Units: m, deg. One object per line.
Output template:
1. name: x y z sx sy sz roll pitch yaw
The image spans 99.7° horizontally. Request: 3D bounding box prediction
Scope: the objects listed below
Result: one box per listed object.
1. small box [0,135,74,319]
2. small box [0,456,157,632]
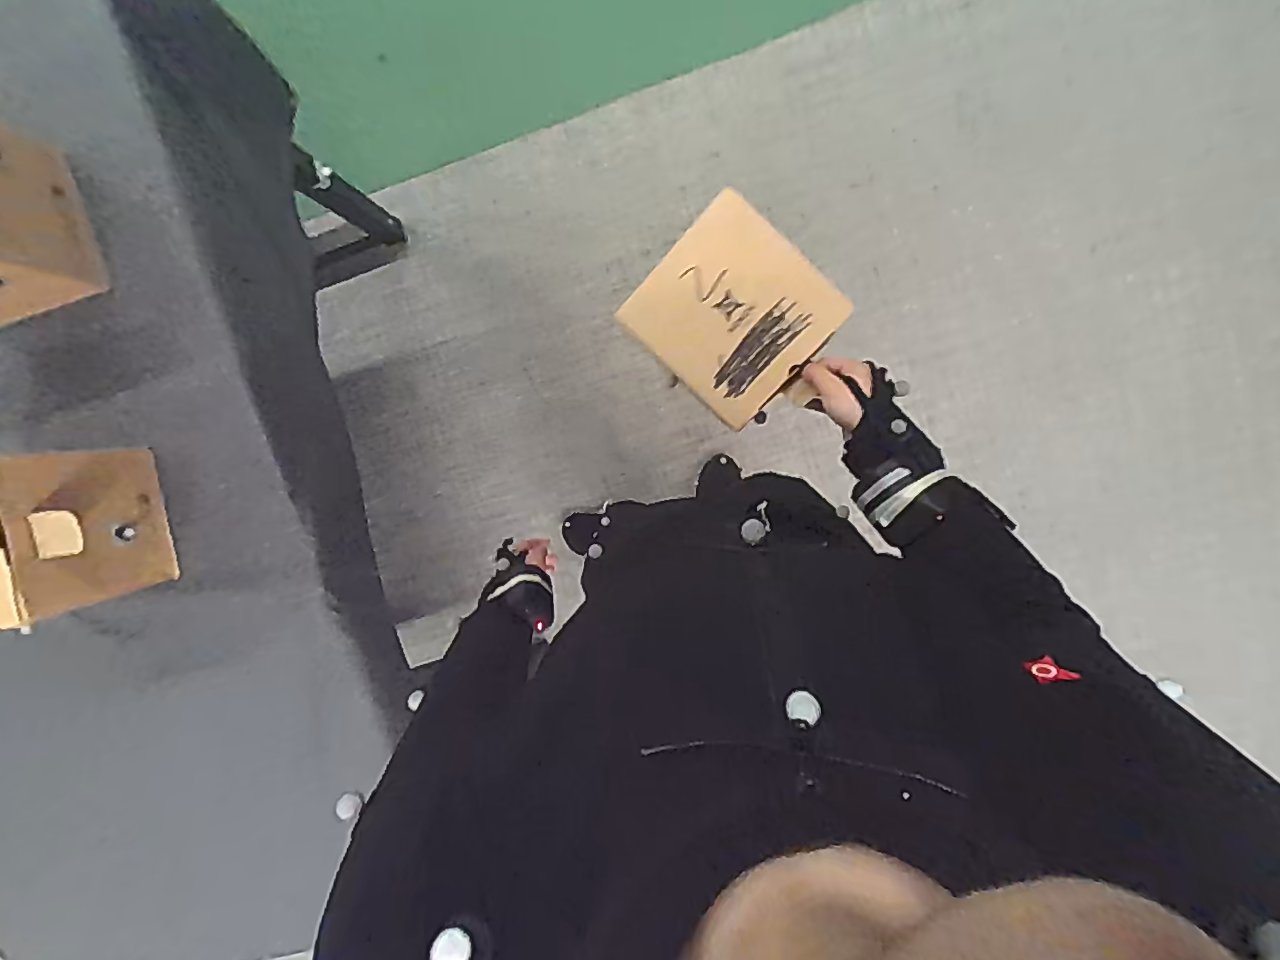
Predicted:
1. small box: -0.737 -0.267 0.542 0.179 0.176 0.168 -16 94 6
2. small box: -0.680 0.068 0.573 0.179 0.176 0.168 -8 95 4
